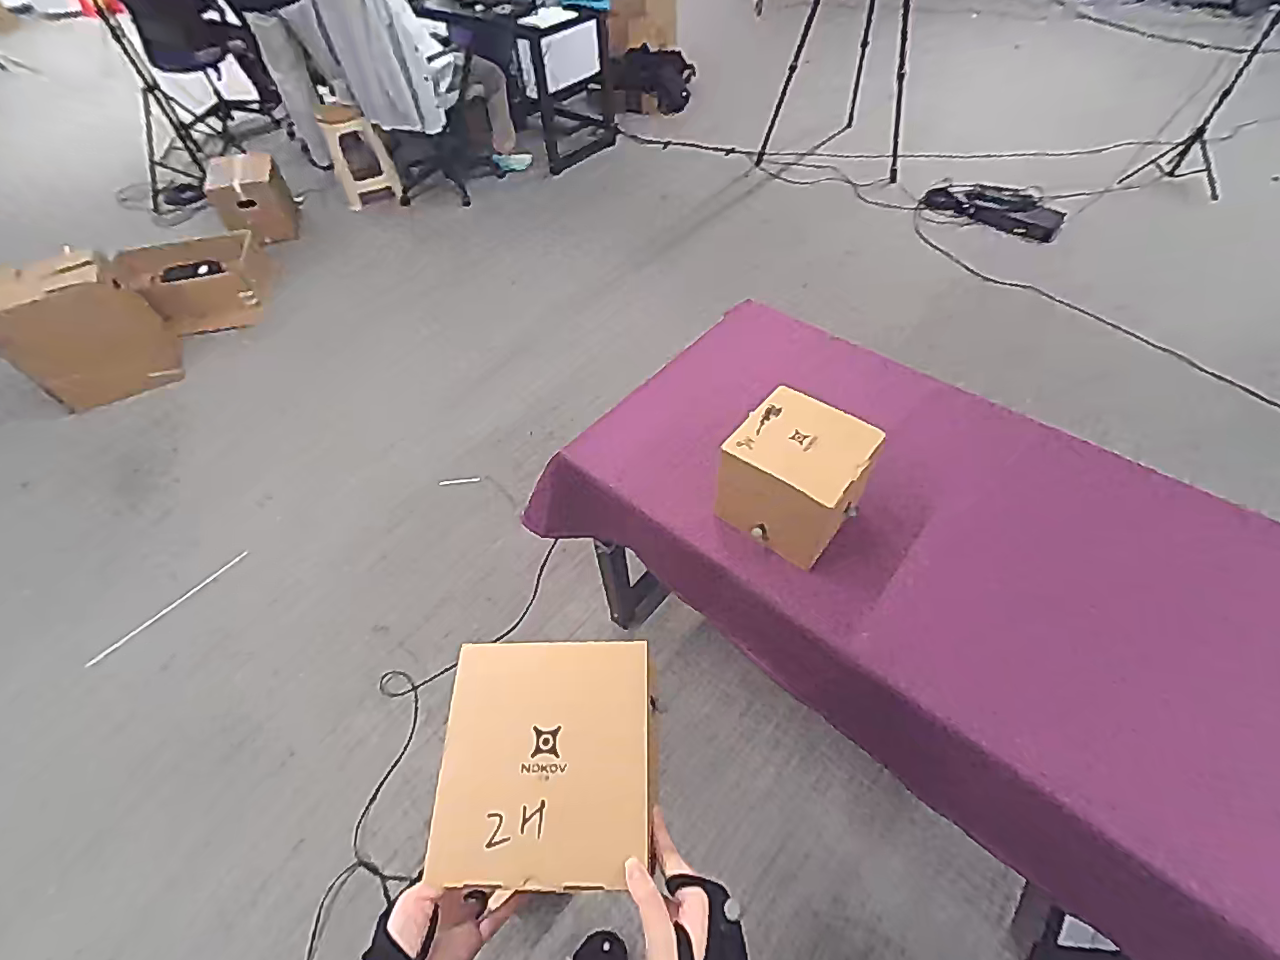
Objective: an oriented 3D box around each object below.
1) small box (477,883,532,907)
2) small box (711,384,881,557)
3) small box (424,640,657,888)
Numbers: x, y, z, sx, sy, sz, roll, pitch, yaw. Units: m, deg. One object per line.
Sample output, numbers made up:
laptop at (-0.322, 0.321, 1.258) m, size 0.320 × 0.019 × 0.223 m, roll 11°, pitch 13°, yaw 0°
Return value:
small box at (-0.273, 0.777, 1.170) m, size 0.168 × 0.176 × 0.179 m, roll 37°, pitch 62°, yaw 26°
small box at (0.227, -0.007, 0.825) m, size 0.179 × 0.176 × 0.168 m, roll 33°, pitch 60°, yaw 24°
small box at (-0.072, 0.257, 0.502) m, size 0.168 × 0.176 × 0.179 m, roll -2°, pitch 61°, yaw 4°
